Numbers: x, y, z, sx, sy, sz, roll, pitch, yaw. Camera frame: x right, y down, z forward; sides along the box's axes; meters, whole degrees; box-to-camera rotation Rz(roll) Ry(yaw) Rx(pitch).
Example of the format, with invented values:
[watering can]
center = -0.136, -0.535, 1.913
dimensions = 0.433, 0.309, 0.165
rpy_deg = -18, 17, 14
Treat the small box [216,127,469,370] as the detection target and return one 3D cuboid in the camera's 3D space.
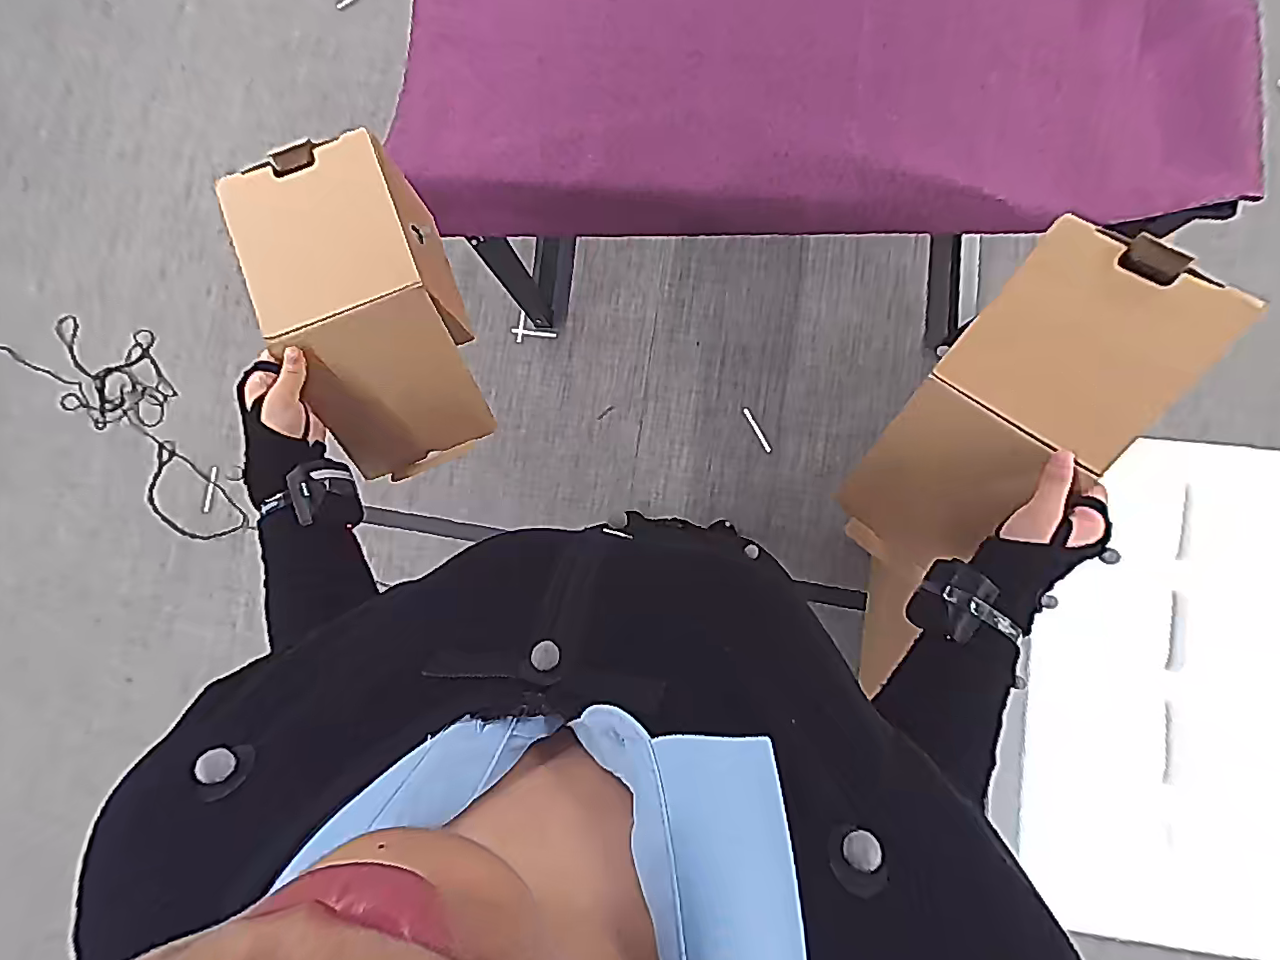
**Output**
[small box]
center = -0.315, -0.239, 0.610
dimensions = 0.168, 0.176, 0.179
rpy_deg = -20, 85, -1
